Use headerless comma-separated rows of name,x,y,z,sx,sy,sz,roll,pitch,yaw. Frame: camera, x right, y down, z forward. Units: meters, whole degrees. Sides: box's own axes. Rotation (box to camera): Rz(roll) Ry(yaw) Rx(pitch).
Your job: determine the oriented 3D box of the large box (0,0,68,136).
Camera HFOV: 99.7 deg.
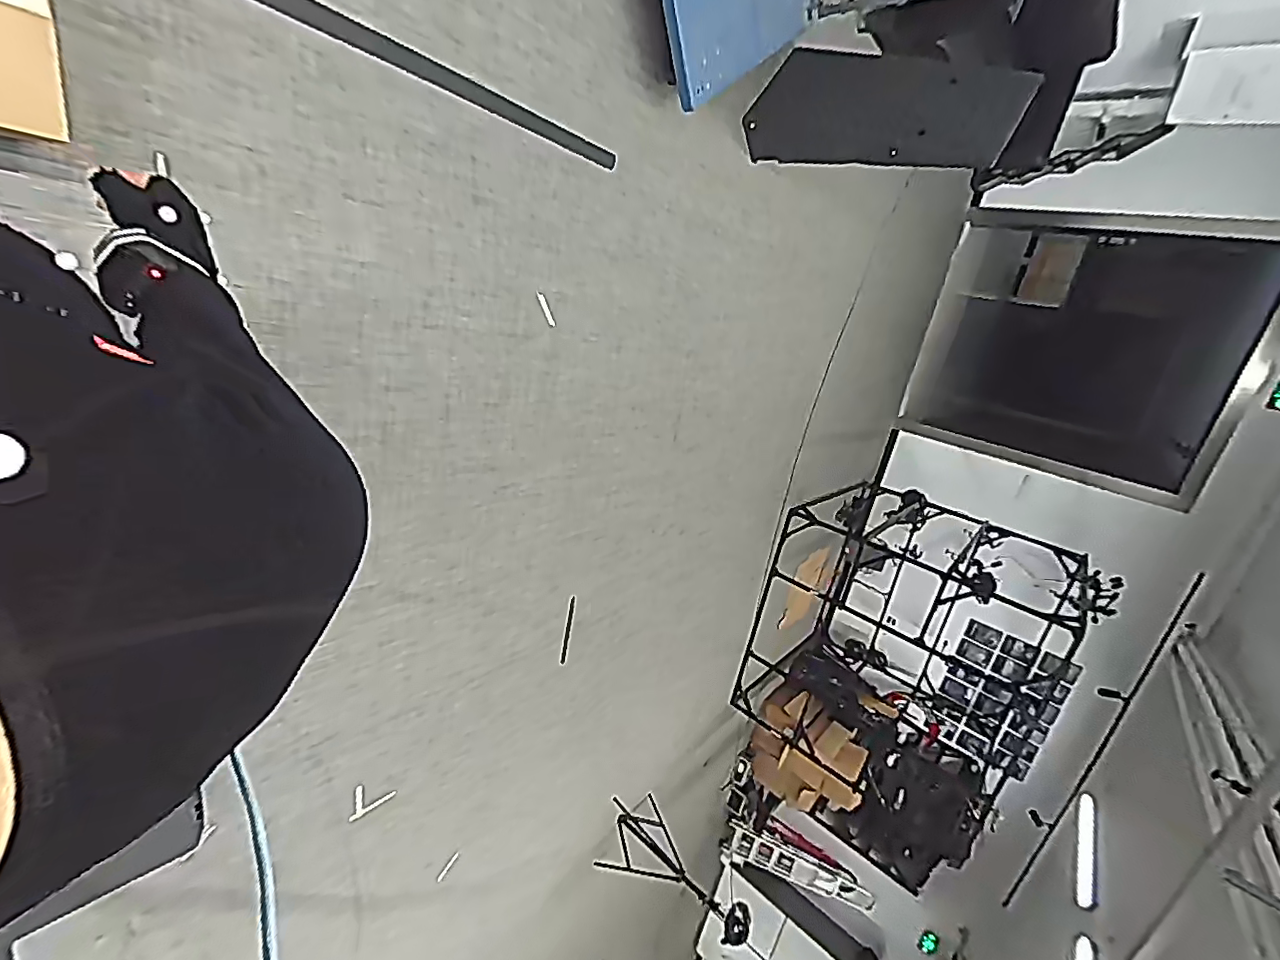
large box,-1.022,-0.646,0.643,0.408,0.320,0.320,-14,122,-51
